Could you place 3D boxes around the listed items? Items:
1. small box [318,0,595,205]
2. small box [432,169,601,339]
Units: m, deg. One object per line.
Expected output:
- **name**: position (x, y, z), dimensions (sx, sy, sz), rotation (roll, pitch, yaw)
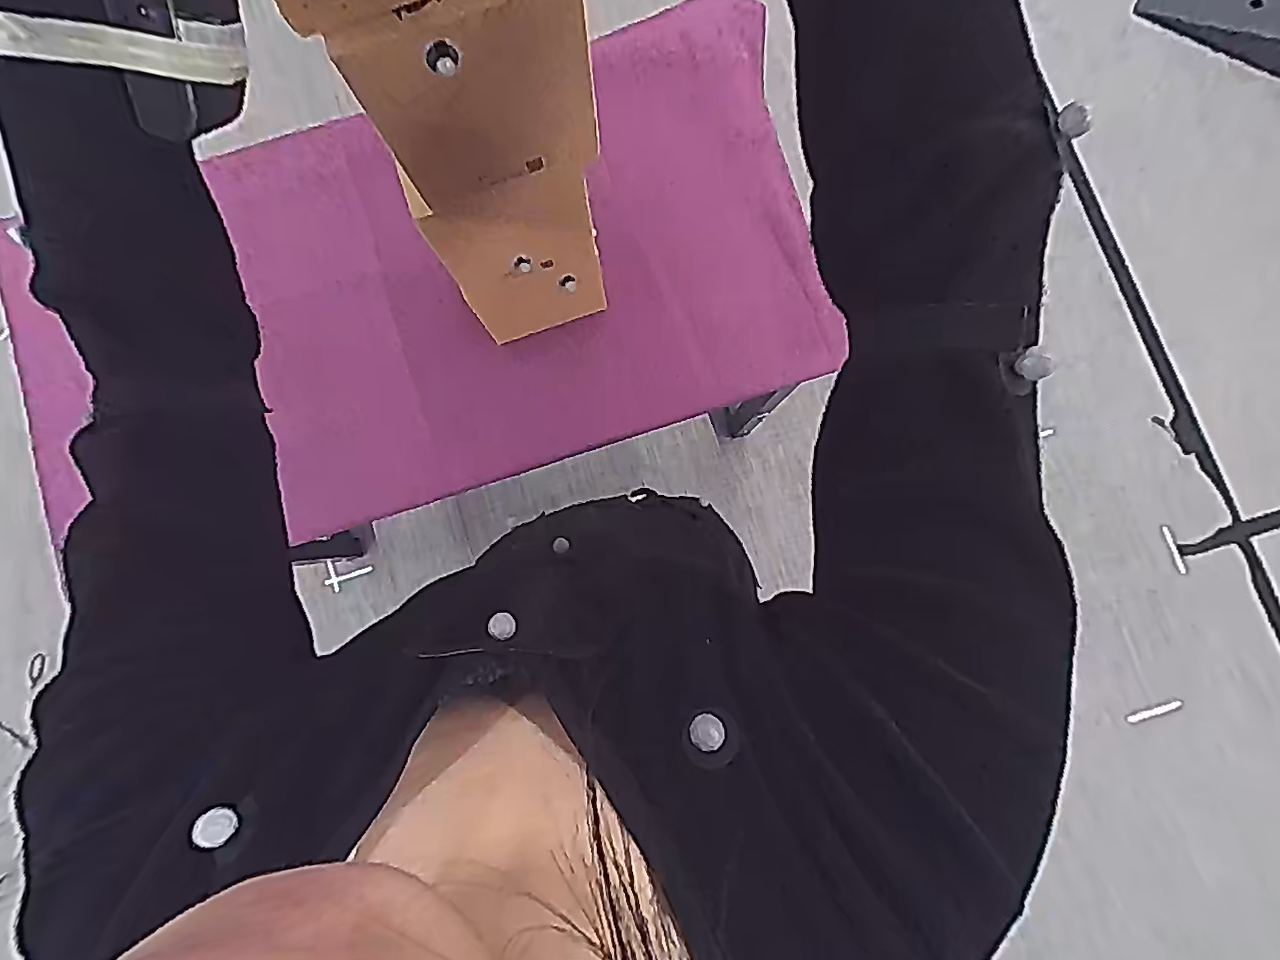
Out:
- **small box**: position (-0.141, -0.359, 0.420), dimensions (0.168, 0.176, 0.179), rotation (-19, 84, -2)
- **small box**: position (-0.158, -0.319, 0.745), dimensions (0.179, 0.176, 0.168), rotation (-19, 84, -1)
